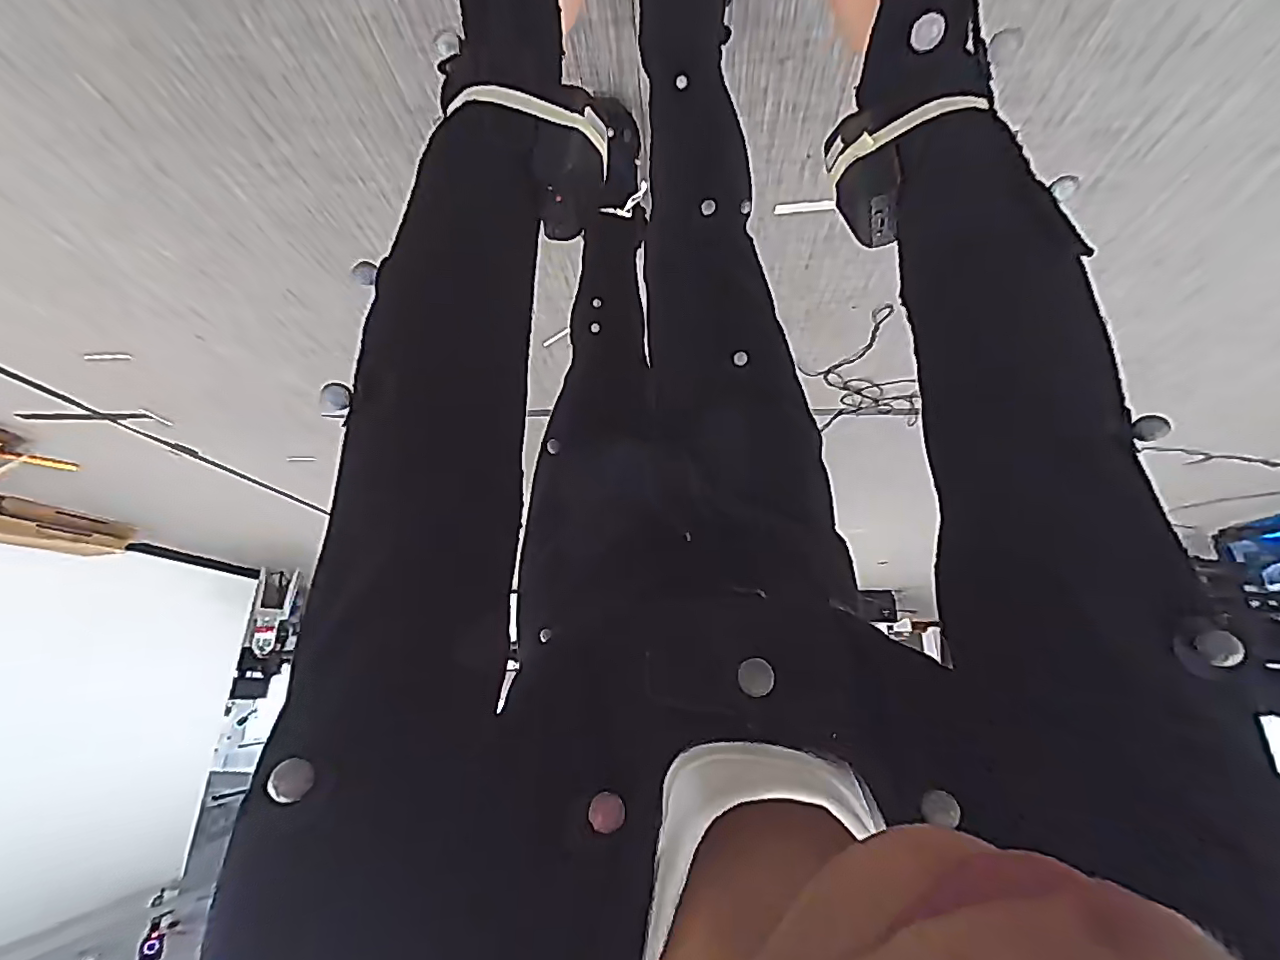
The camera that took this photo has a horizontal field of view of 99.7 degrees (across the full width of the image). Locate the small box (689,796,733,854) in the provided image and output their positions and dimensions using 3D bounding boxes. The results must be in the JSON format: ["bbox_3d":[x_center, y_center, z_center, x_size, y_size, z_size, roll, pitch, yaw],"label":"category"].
[{"bbox_3d":[0.297,1.441,2.265,0.179,0.176,0.168,0,160,8],"label":"small box"}]
